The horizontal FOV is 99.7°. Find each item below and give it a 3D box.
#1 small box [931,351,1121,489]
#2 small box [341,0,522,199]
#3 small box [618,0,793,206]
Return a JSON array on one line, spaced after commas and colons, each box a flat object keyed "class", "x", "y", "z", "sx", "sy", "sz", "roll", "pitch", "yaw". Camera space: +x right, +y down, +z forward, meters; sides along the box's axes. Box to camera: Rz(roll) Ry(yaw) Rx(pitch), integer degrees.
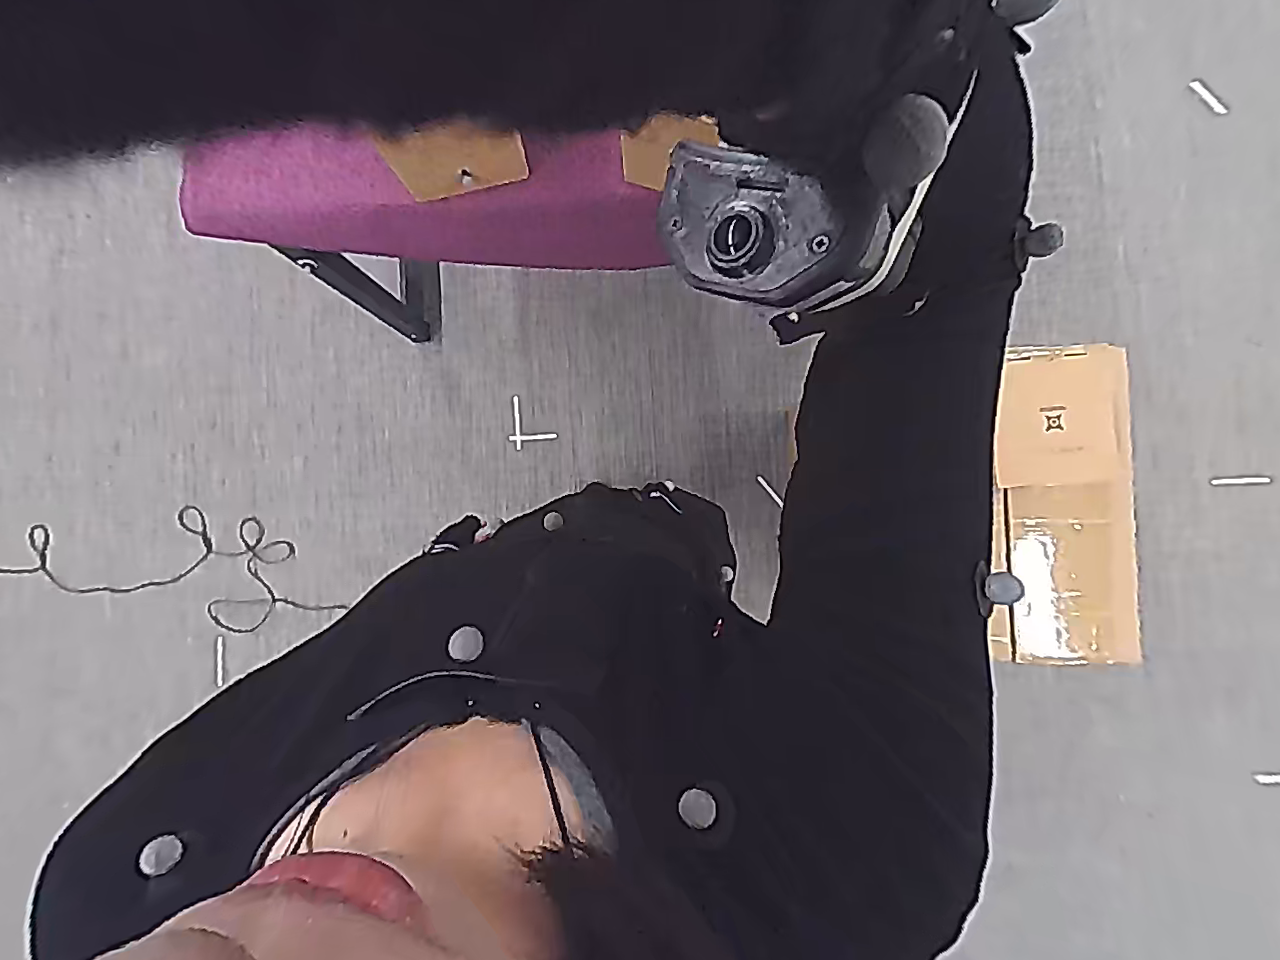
[{"class": "small box", "x": 0.558, "y": -0.080, "z": 0.806, "sx": 0.168, "sy": 0.176, "sz": 0.179, "roll": -5, "pitch": 89, "yaw": 4}, {"class": "small box", "x": -0.269, "y": -0.521, "z": 0.742, "sx": 0.179, "sy": 0.176, "sz": 0.168, "roll": -13, "pitch": 86, "yaw": 0}, {"class": "small box", "x": 0.082, "y": -0.507, "z": 0.734, "sx": 0.179, "sy": 0.176, "sz": 0.168, "roll": 17, "pitch": 87, "yaw": 3}]
